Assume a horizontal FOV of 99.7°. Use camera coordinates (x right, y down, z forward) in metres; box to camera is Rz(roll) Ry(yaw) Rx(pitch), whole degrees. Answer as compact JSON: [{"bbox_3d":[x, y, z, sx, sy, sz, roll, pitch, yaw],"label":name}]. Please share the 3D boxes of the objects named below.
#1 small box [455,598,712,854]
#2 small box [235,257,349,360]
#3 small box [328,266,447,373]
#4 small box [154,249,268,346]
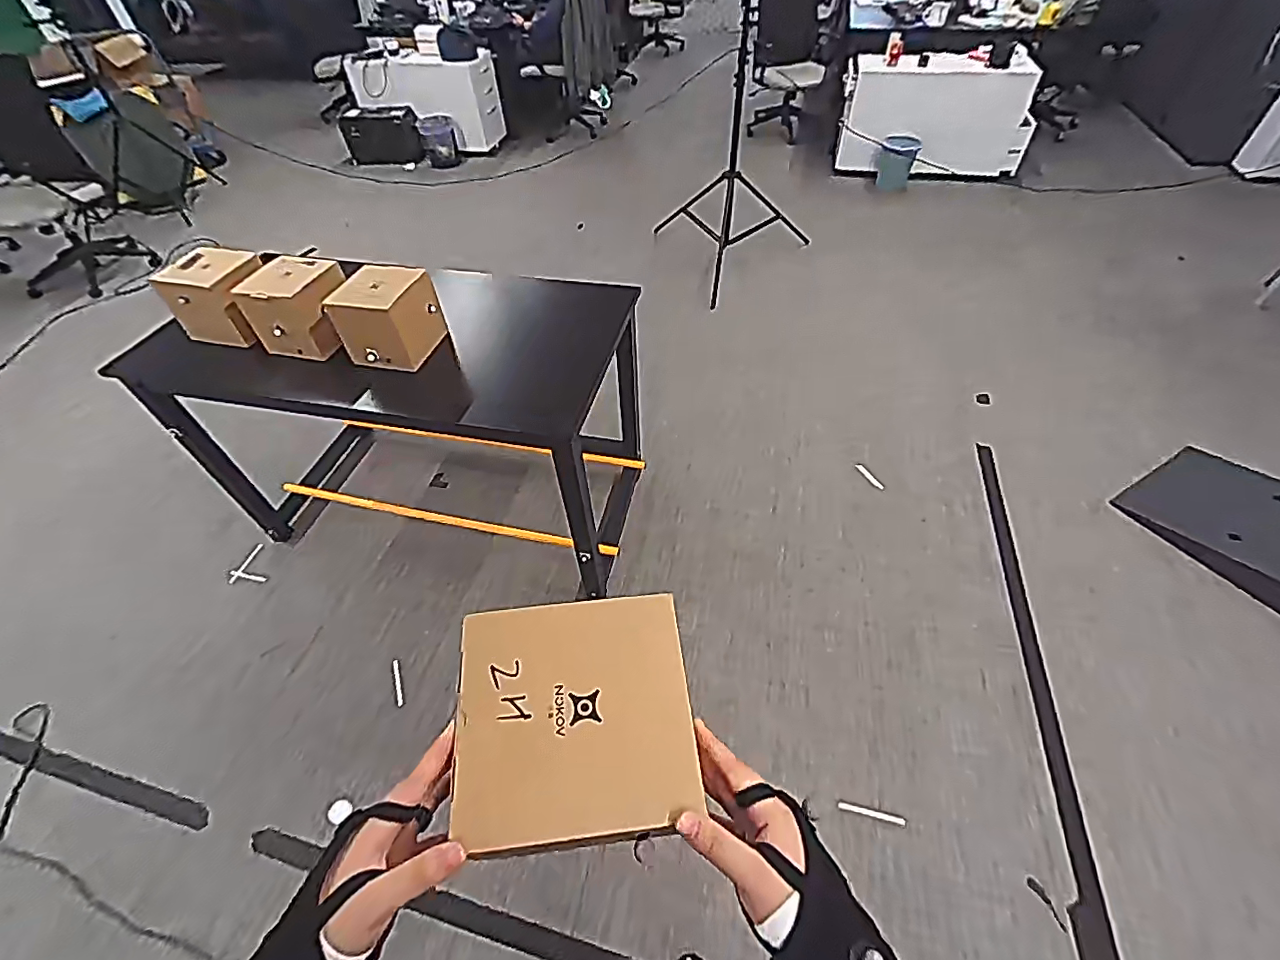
[{"bbox_3d":[-0.046,0.218,0.473,0.179,0.176,0.168,-5,55,-4],"label":"small box"},{"bbox_3d":[-0.809,-0.413,1.309,0.168,0.176,0.179,10,50,10],"label":"small box"},{"bbox_3d":[-0.577,-0.376,1.269,0.168,0.176,0.179,8,50,11],"label":"small box"},{"bbox_3d":[-1.033,-0.457,1.356,0.179,0.176,0.168,10,50,10],"label":"small box"}]
